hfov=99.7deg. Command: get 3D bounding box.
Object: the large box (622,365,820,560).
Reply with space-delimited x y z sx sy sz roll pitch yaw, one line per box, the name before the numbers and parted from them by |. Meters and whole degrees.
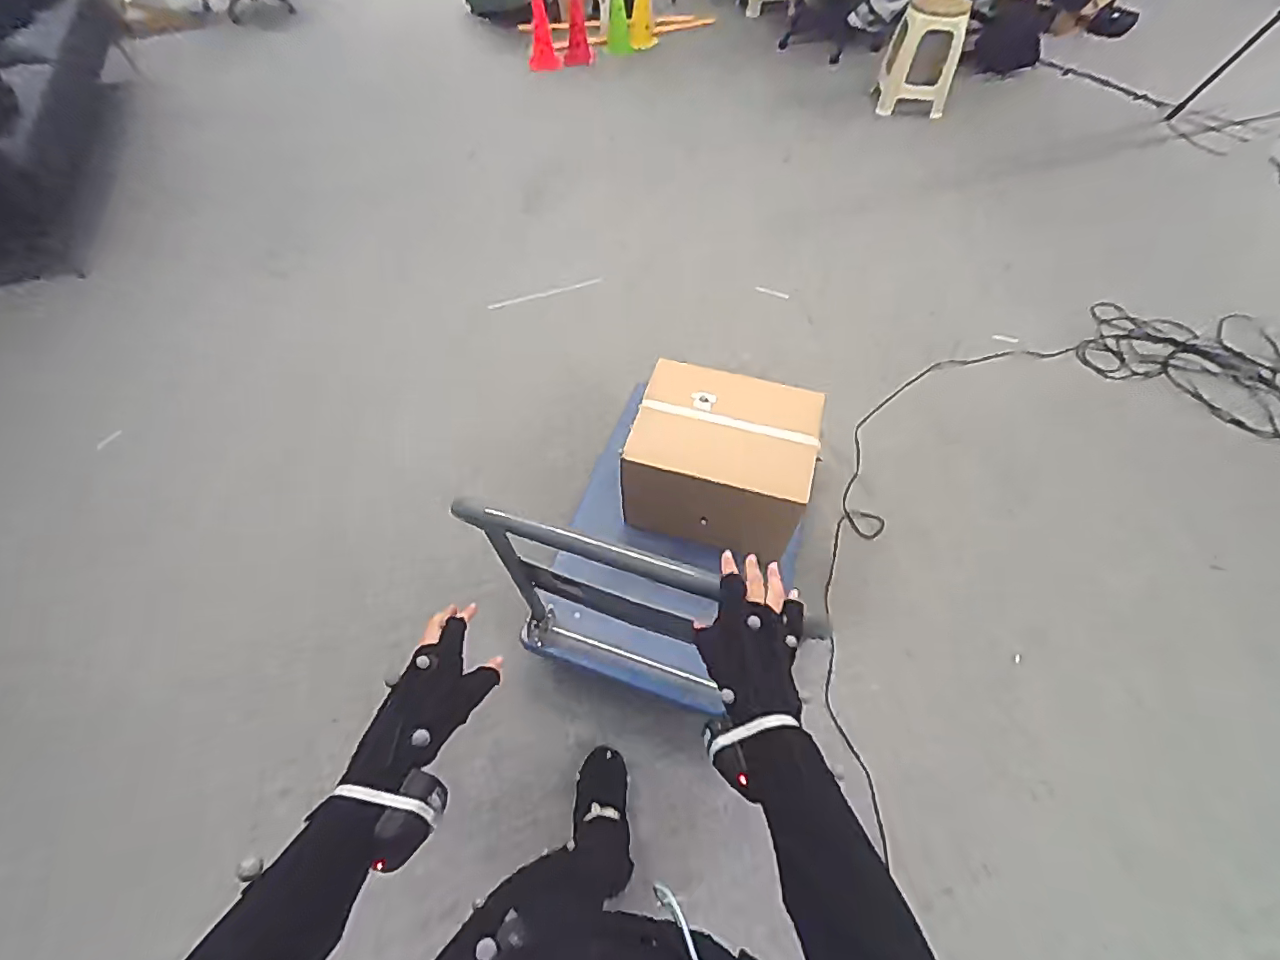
large box | 0.197 -0.037 1.342 0.408 0.320 0.320 13 58 10
